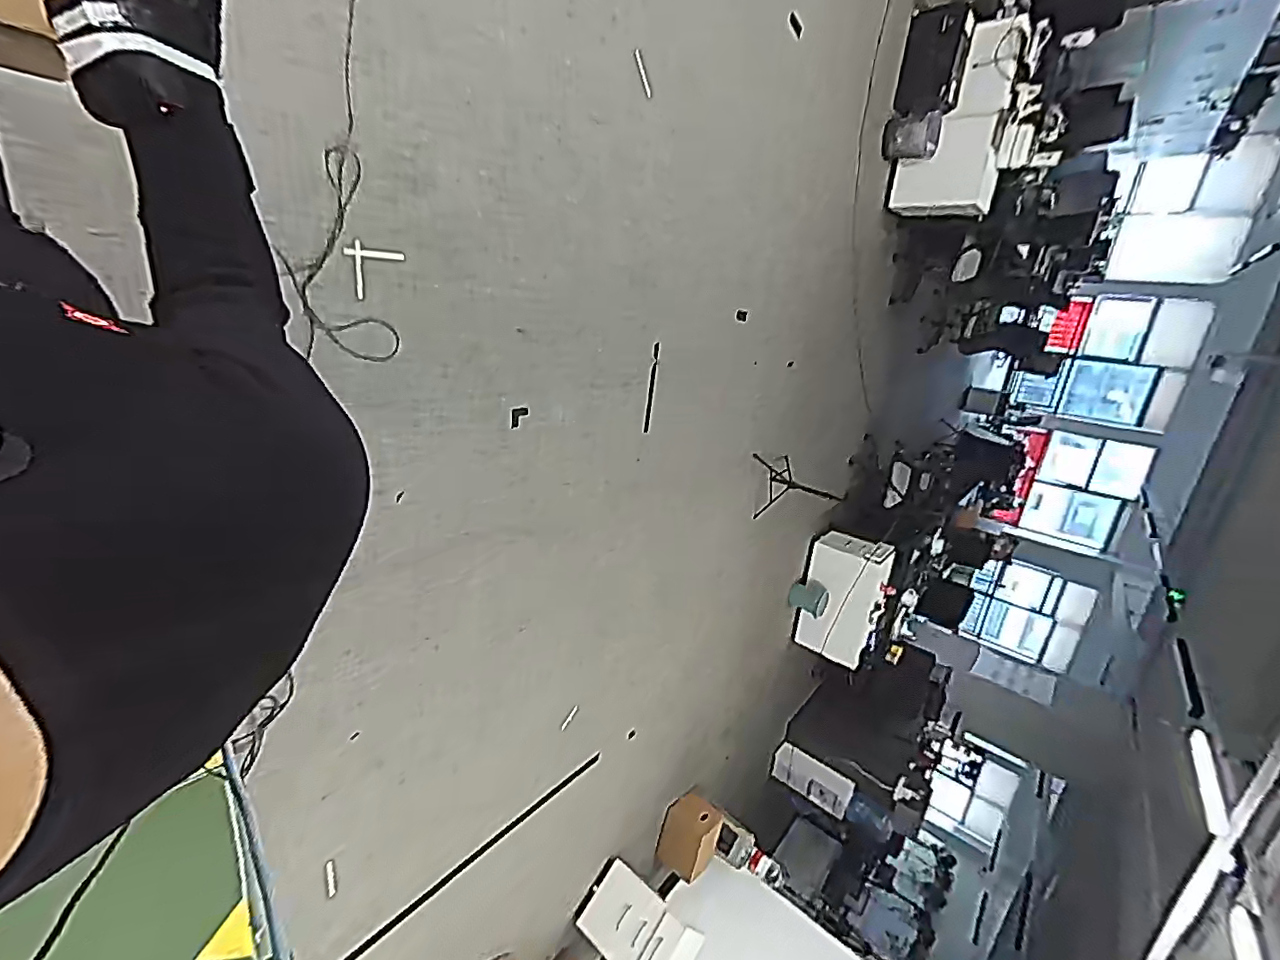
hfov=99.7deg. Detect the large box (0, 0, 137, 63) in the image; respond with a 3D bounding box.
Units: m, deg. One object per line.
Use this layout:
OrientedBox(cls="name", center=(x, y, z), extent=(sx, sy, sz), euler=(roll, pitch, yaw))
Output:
OrientedBox(cls="large box", center=(-0.594, -0.478, 0.280), extent=(0.408, 0.320, 0.320), euler=(-19, 126, -51))
